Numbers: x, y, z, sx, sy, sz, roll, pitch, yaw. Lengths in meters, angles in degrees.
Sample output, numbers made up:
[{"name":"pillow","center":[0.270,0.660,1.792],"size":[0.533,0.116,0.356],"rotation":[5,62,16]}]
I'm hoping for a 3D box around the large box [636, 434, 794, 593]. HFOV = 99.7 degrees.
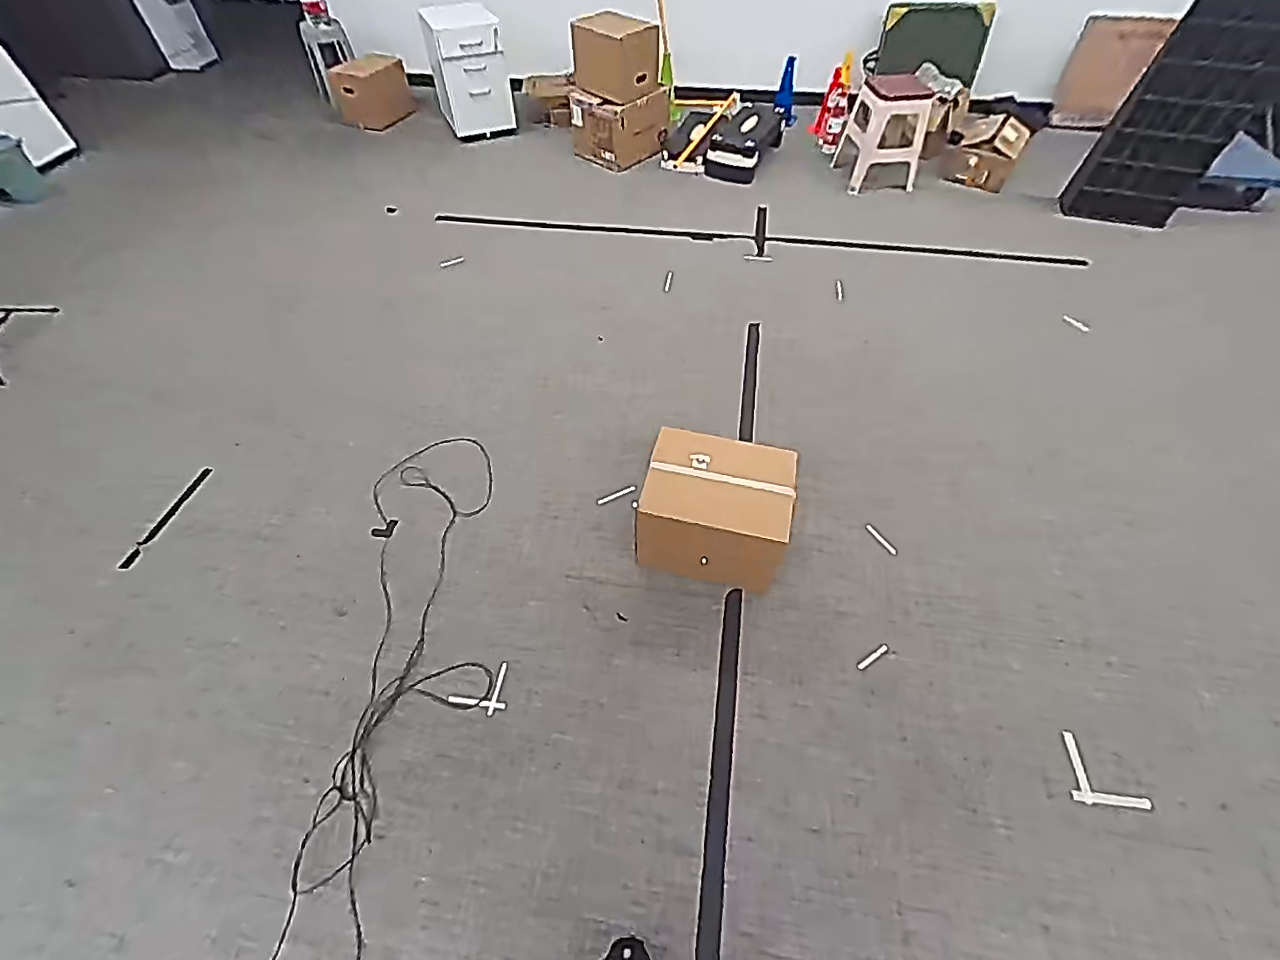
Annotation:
[{"name":"large box","center":[0.219,0.104,1.612],"size":[0.408,0.320,0.320],"rotation":[11,53,9]}]
